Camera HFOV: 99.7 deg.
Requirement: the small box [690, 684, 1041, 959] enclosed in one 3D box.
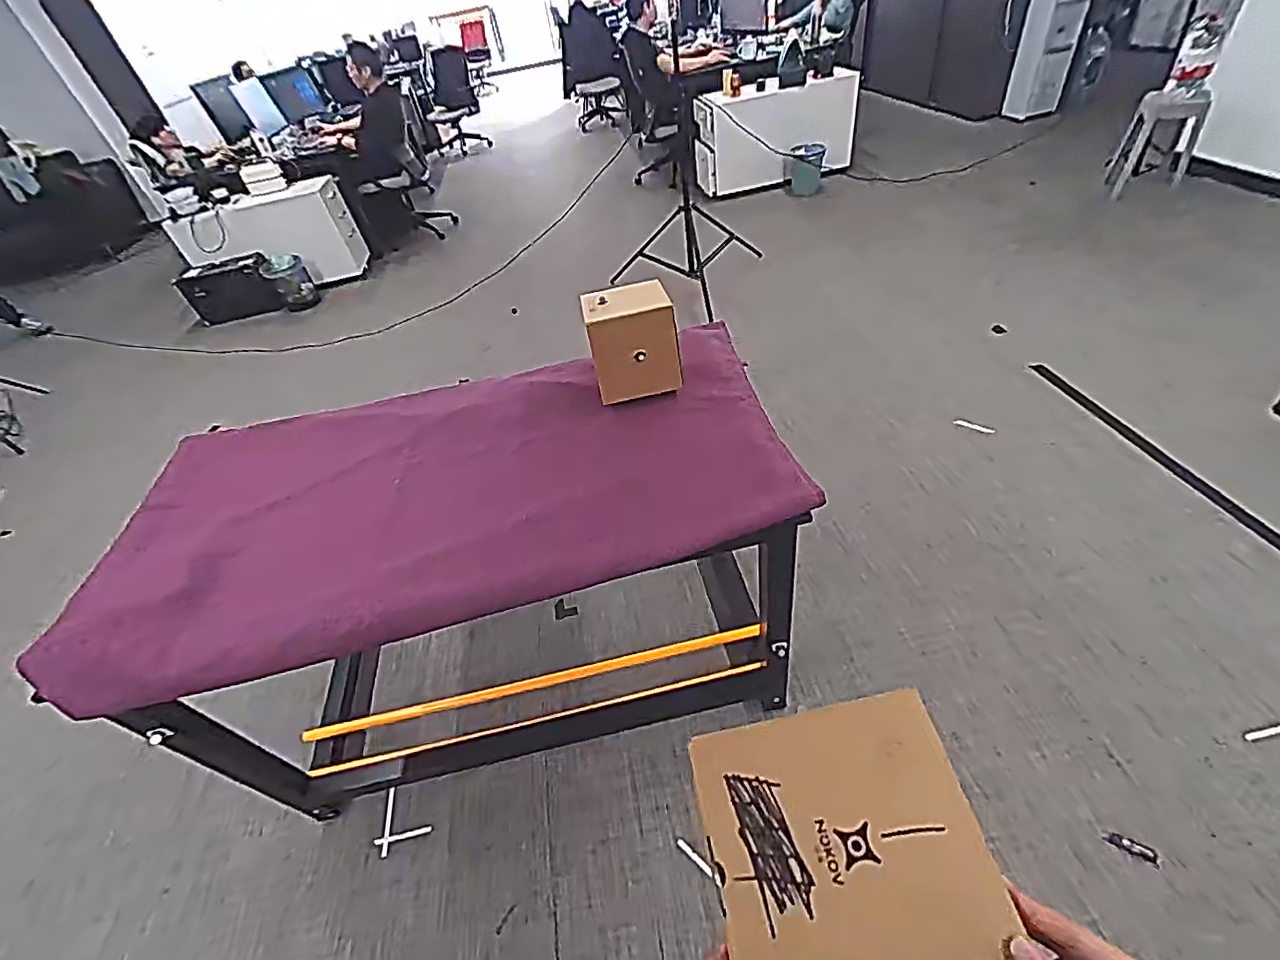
[{"bbox_3d":[0.152,0.277,0.422,0.179,0.176,0.168,-15,57,5],"label":"small box"}]
